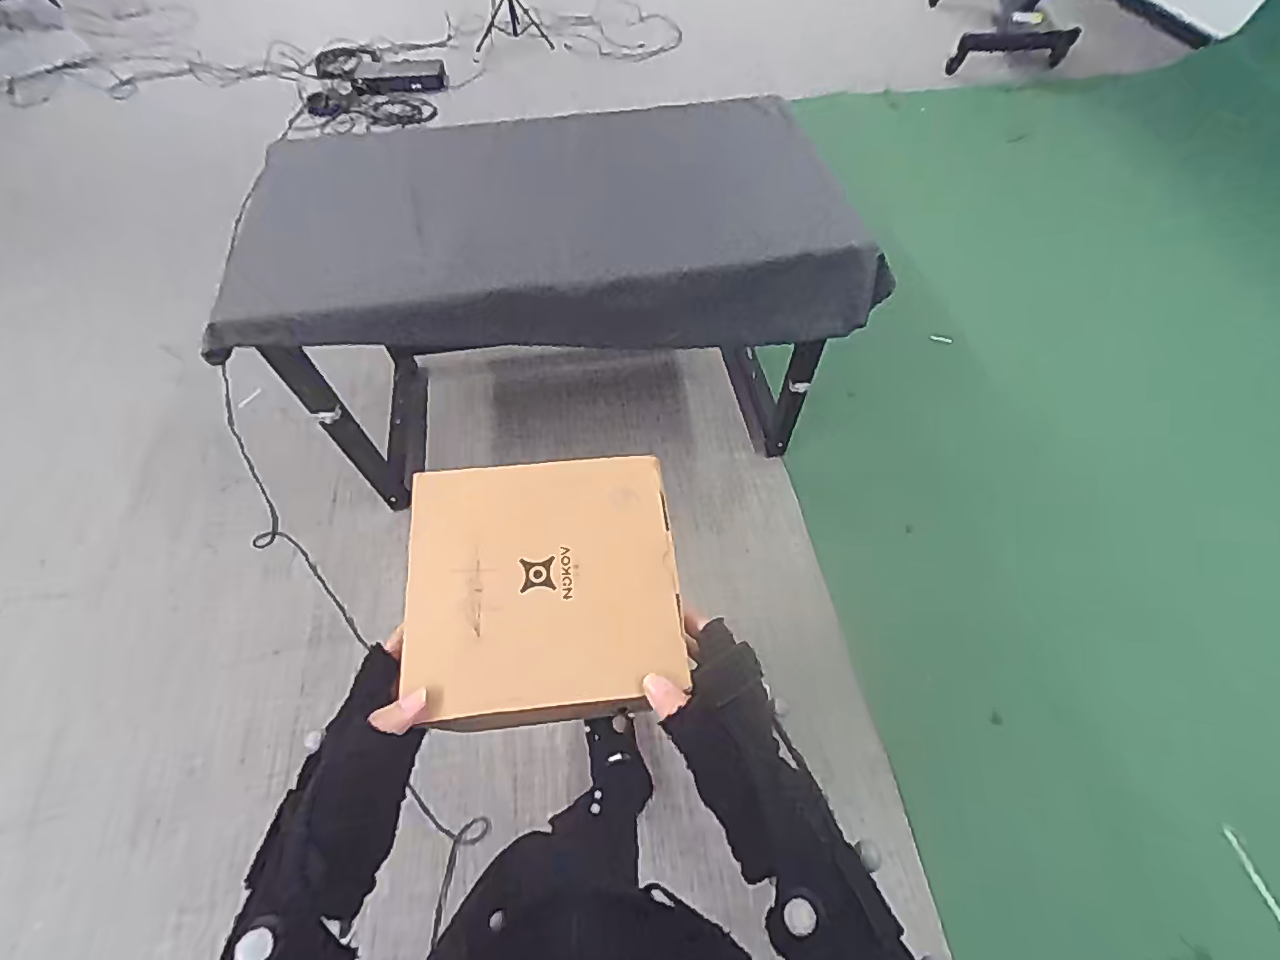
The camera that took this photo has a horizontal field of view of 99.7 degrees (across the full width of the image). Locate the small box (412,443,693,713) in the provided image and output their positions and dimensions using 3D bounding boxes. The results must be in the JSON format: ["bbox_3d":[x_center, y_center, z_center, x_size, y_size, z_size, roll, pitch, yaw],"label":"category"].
[{"bbox_3d":[-0.065,0.088,0.439,0.179,0.176,0.168,-6,64,-5],"label":"small box"}]
